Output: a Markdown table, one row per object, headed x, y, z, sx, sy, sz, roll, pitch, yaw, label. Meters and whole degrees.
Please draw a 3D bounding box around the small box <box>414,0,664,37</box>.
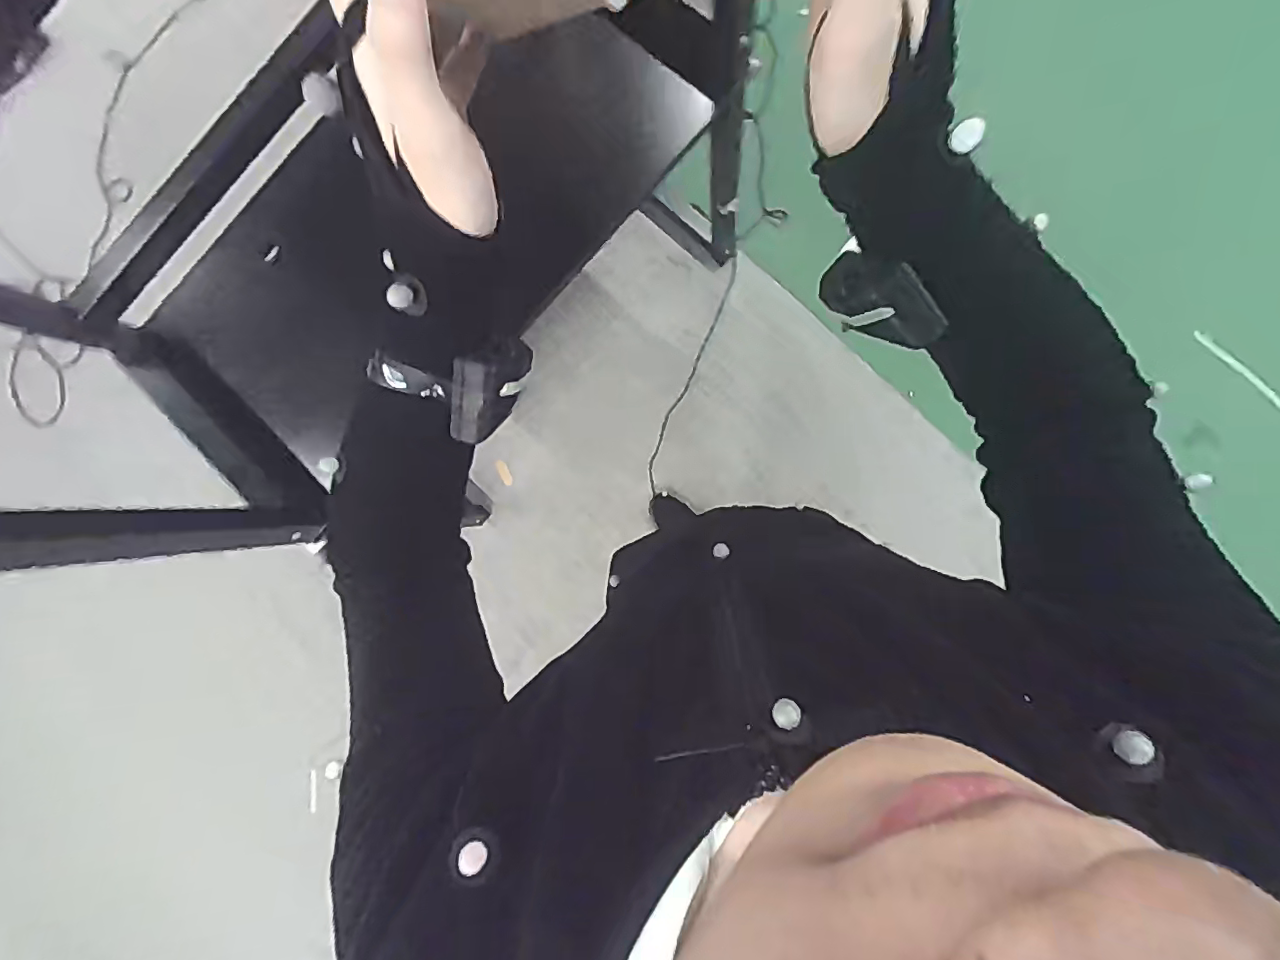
| x | y | z | sx | sy | sz | roll | pitch | yaw | label |
| --- | --- | --- | --- | --- | --- | --- | --- | --- | --- |
| -0.021 | -0.307 | 0.214 | 0.179 | 0.176 | 0.168 | -9 | 123 | 10 | small box |
